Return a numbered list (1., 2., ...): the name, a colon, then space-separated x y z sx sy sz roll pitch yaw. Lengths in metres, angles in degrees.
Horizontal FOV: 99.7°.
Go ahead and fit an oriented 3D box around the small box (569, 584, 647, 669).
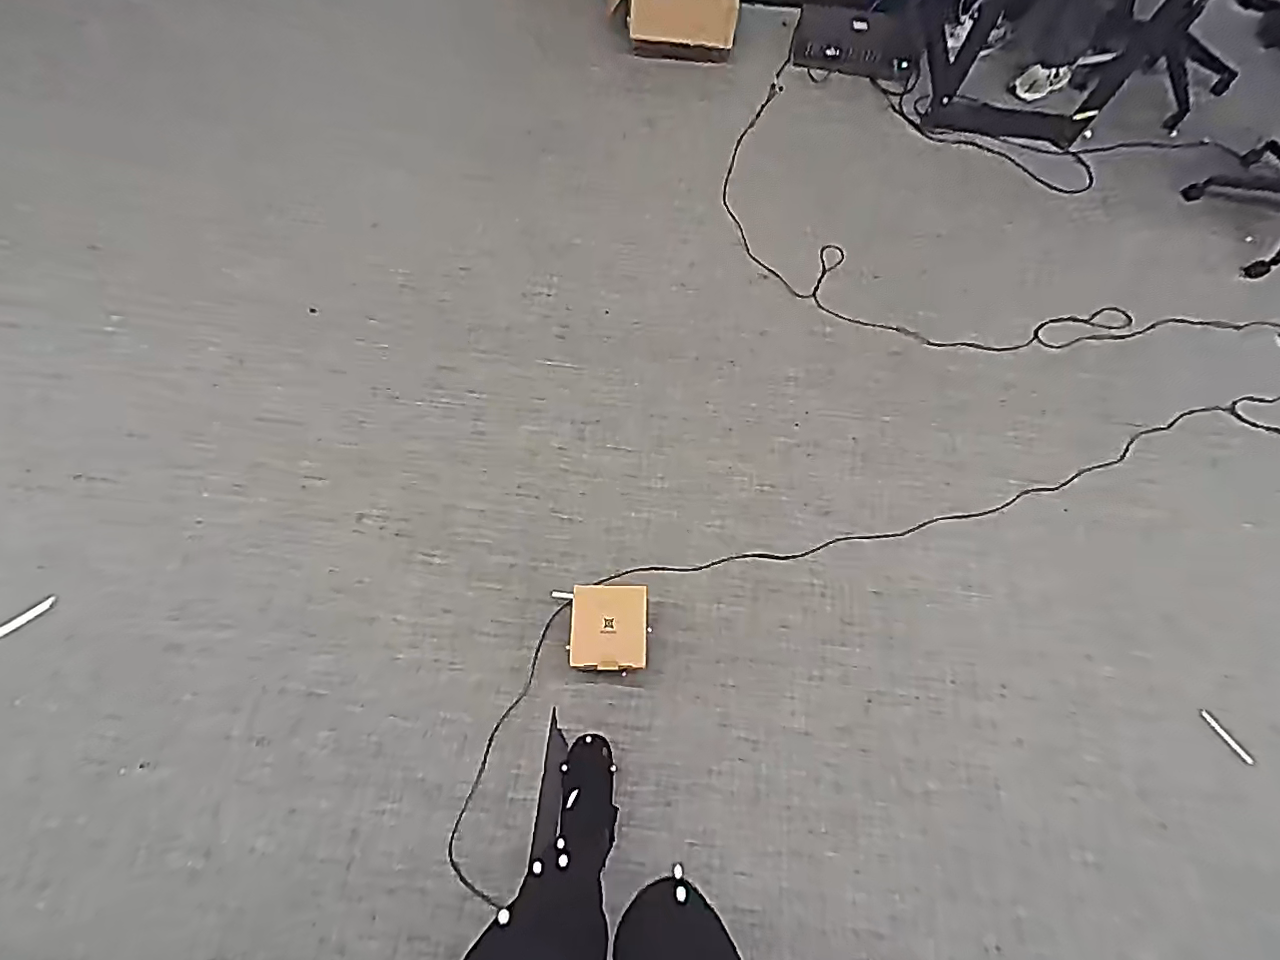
1. small box: -0.070 0.345 1.258 0.168 0.176 0.179 2 68 -2
